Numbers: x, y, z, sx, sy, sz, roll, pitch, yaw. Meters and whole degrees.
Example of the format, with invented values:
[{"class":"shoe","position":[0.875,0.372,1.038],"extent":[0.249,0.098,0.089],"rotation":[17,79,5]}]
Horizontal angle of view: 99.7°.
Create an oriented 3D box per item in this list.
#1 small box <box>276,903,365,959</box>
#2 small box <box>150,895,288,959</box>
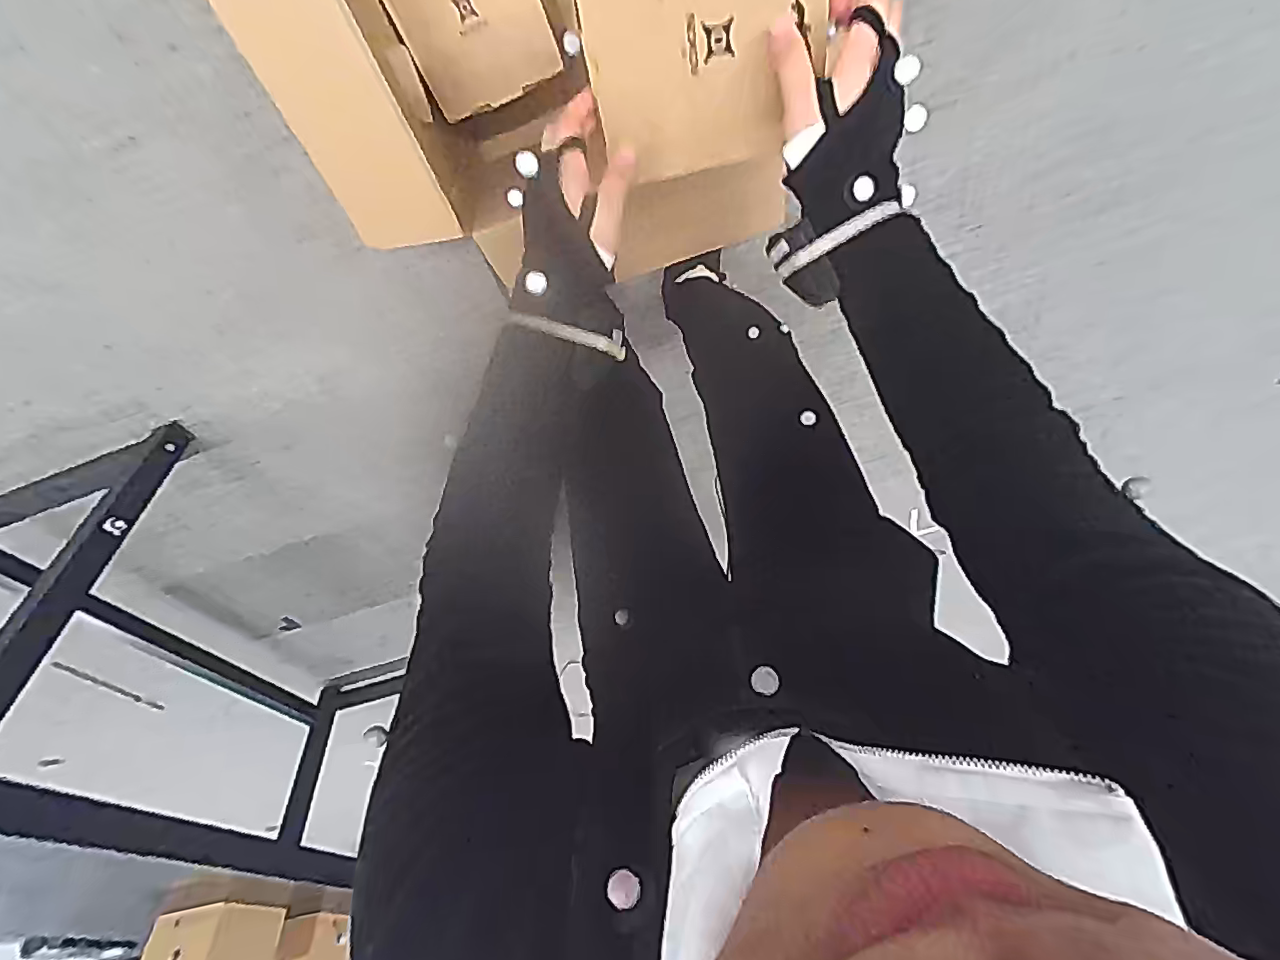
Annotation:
[{"class":"small box","position":[-0.814,1.166,1.327],"extent":[0.179,0.176,0.168],"rotation":[-19,135,8]},{"class":"small box","position":[-0.895,0.996,1.139],"extent":[0.168,0.176,0.179],"rotation":[-17,135,8]}]
